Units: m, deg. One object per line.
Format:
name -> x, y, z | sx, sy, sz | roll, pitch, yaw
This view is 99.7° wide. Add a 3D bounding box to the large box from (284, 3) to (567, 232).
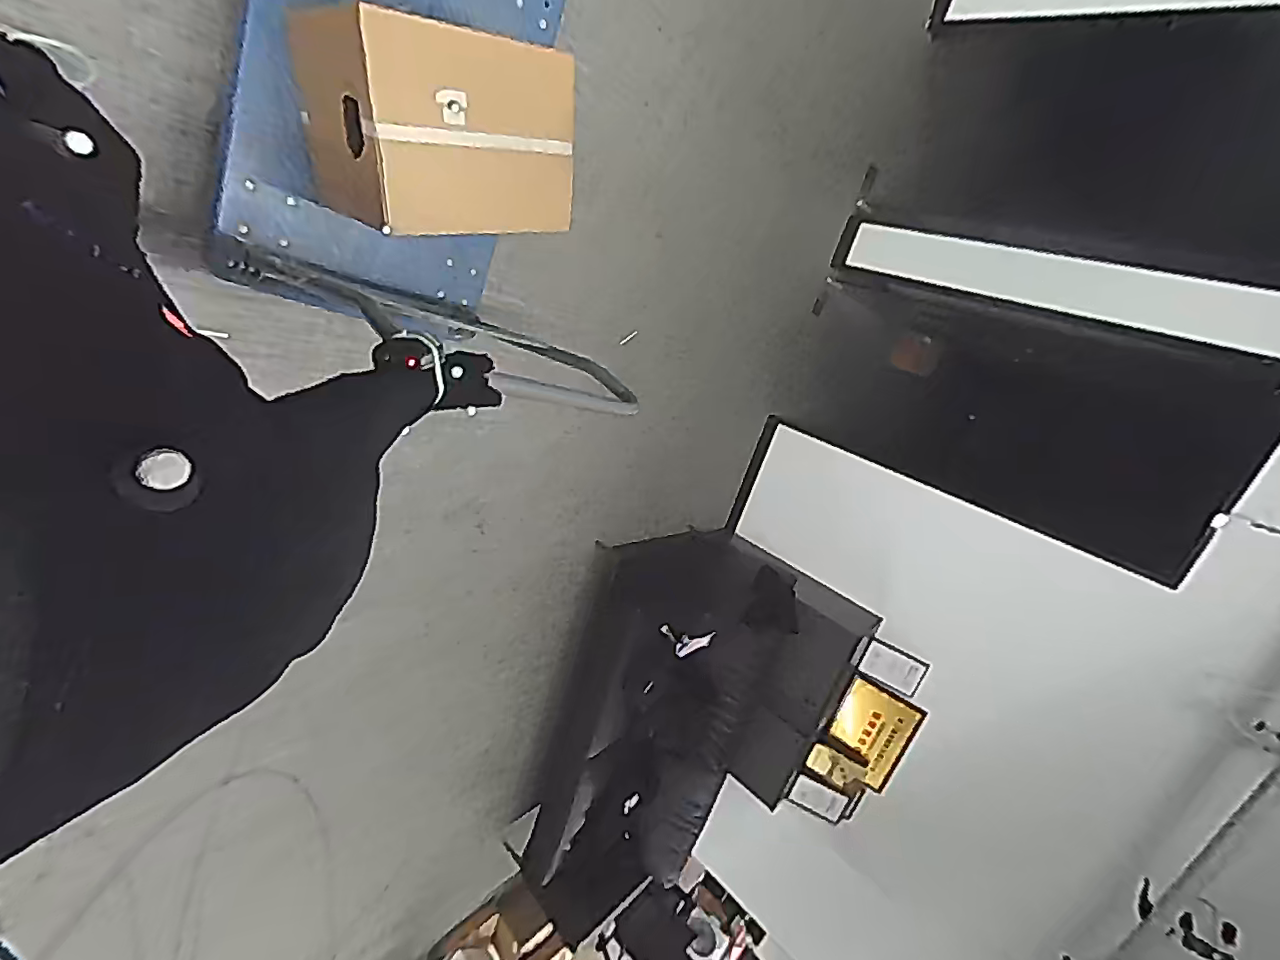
large box -> -0.396, -0.690, 1.062 | 0.408, 0.320, 0.320 | -24, 133, -39
